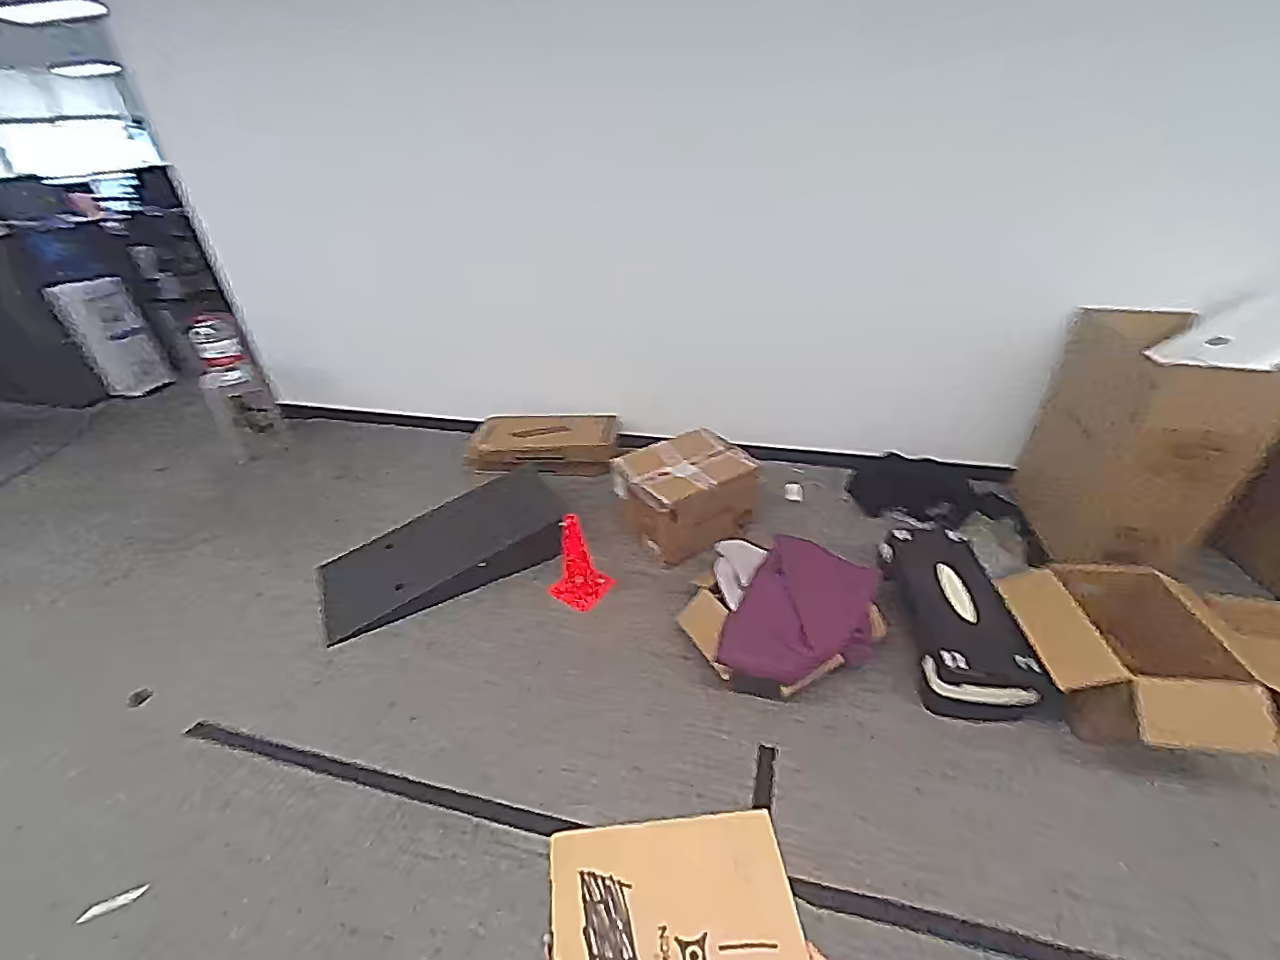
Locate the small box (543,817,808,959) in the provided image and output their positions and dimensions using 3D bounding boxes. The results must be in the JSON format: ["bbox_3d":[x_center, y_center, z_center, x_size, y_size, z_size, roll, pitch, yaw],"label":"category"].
[{"bbox_3d":[0.022,0.383,0.400,0.179,0.176,0.168,-2,37,-8],"label":"small box"}]
